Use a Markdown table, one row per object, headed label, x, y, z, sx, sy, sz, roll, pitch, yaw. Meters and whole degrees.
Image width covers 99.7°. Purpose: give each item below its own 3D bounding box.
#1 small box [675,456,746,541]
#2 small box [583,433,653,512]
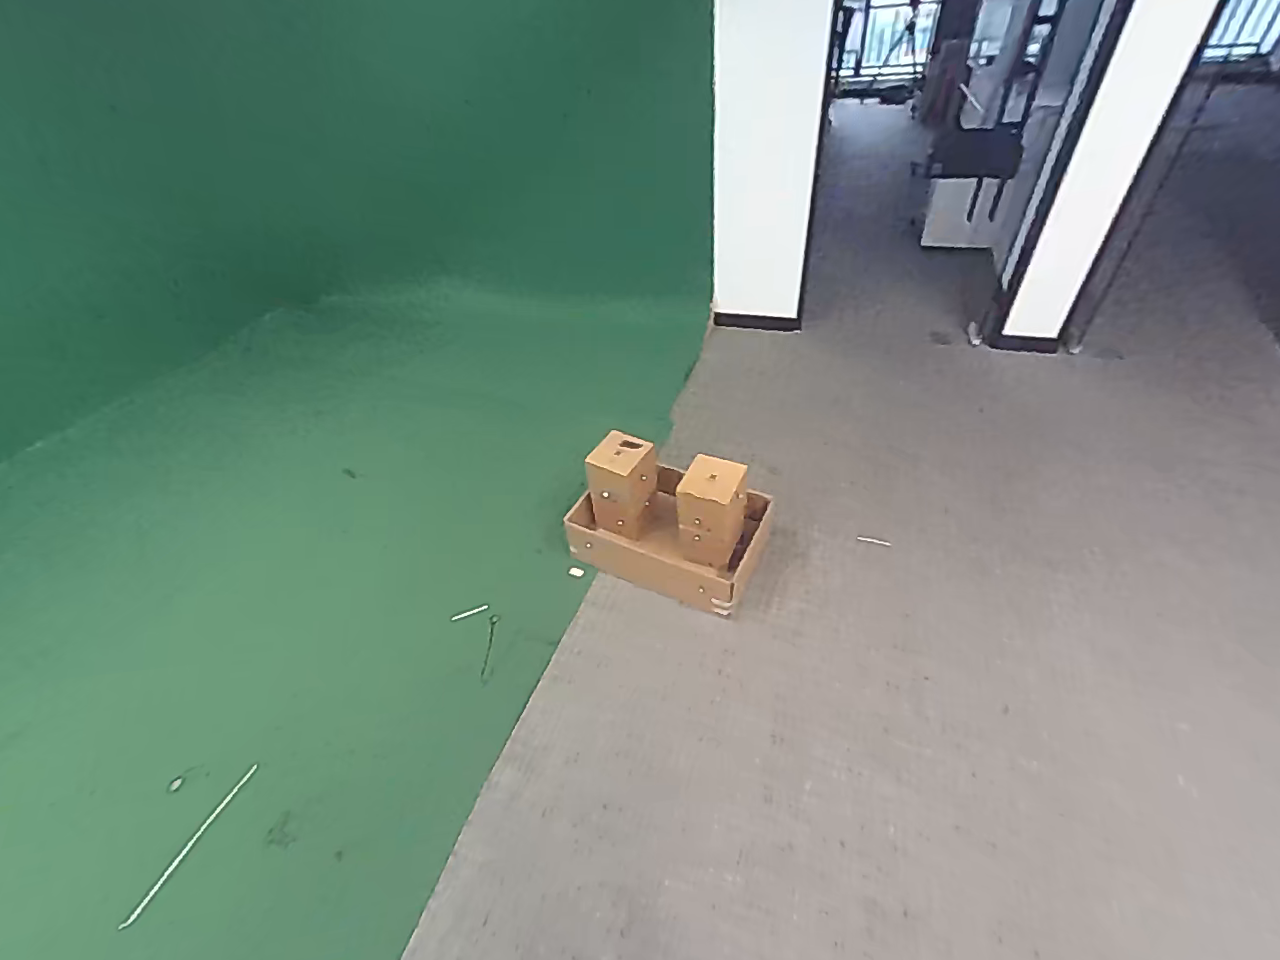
| label | x | y | z | sx | sy | sz | roll | pitch | yaw |
| --- | --- | --- | --- | --- | --- | --- | --- | --- | --- |
| small box | 0.220 | 0.058 | 1.683 | 0.168 | 0.176 | 0.179 | 16 | 49 | 23 |
| small box | -0.068 | -0.025 | 1.809 | 0.168 | 0.176 | 0.179 | 20 | 51 | 25 |
